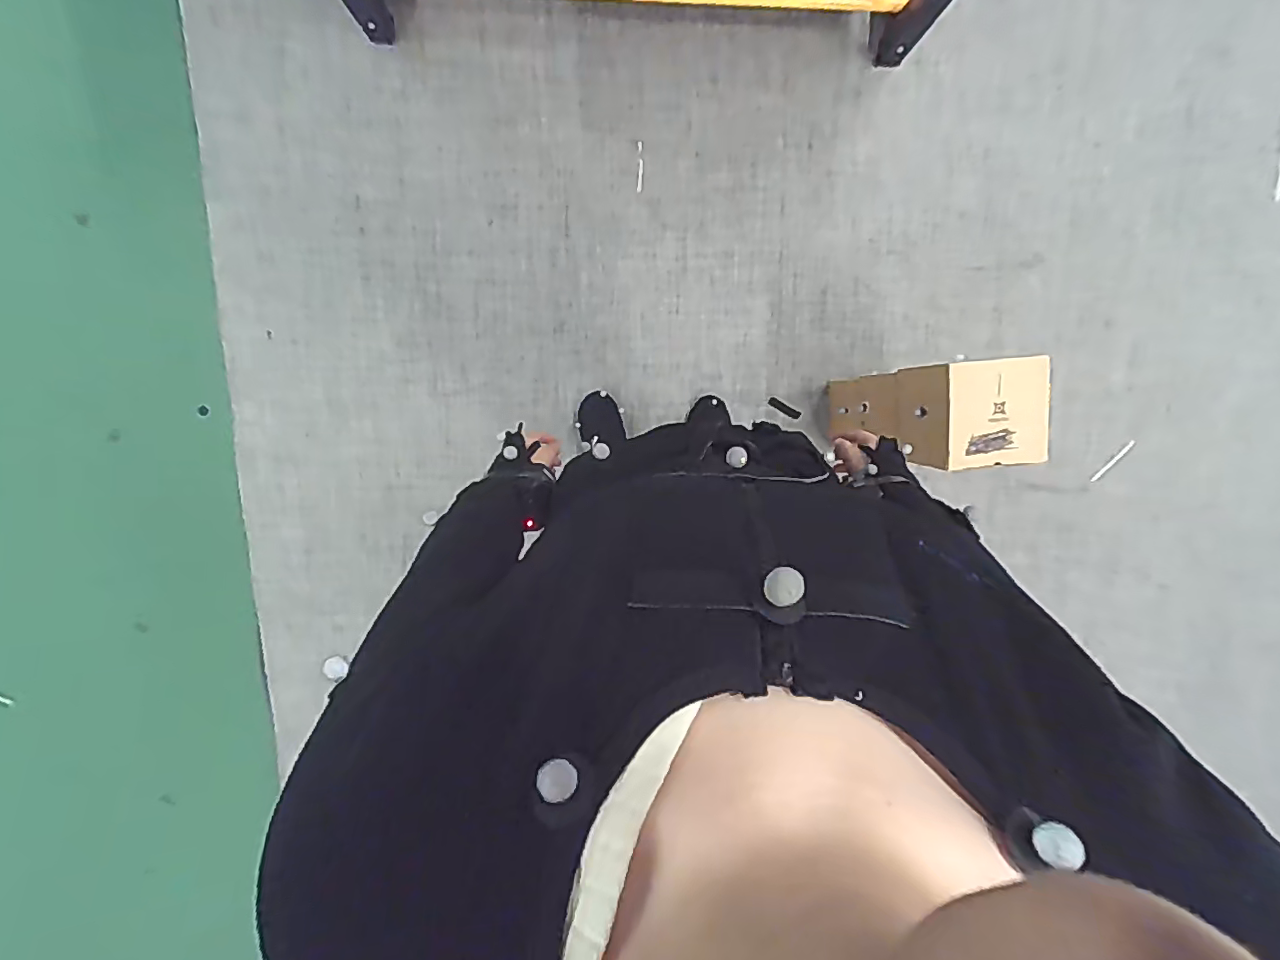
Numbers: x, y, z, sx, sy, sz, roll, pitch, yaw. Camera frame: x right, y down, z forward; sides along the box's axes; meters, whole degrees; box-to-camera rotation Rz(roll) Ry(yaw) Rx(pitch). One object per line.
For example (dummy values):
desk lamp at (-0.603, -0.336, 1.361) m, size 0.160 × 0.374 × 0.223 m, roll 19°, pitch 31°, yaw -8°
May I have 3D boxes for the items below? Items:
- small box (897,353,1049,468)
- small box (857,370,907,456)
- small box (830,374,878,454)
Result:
small box at (0.569, -0.122, 0.945) m, size 0.168 × 0.176 × 0.179 m, roll -5°, pitch 97°, yaw -1°
small box at (0.566, -0.145, 1.108) m, size 0.179 × 0.176 × 0.168 m, roll -6°, pitch 98°, yaw 0°
small box at (0.556, -0.159, 1.270) m, size 0.168 × 0.176 × 0.179 m, roll -5°, pitch 98°, yaw -1°
